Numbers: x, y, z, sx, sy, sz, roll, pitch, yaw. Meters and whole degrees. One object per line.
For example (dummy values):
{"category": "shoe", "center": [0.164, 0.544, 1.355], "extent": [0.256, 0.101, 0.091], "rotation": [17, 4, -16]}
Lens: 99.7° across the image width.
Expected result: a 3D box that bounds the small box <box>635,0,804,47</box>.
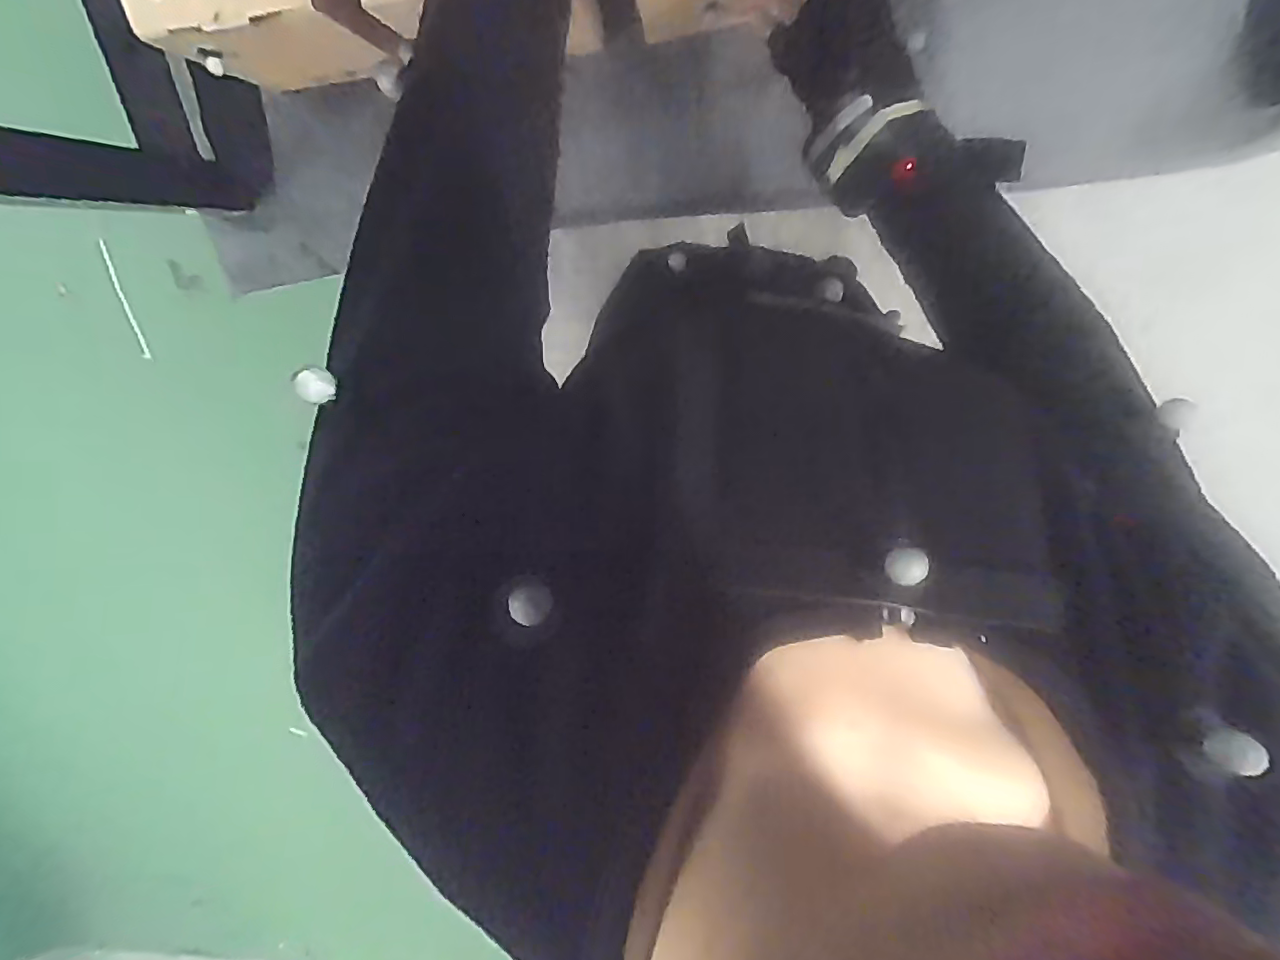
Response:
{"category": "small box", "center": [0.065, -0.511, 0.454], "extent": [0.168, 0.176, 0.179], "rotation": [-7, 113, 8]}
